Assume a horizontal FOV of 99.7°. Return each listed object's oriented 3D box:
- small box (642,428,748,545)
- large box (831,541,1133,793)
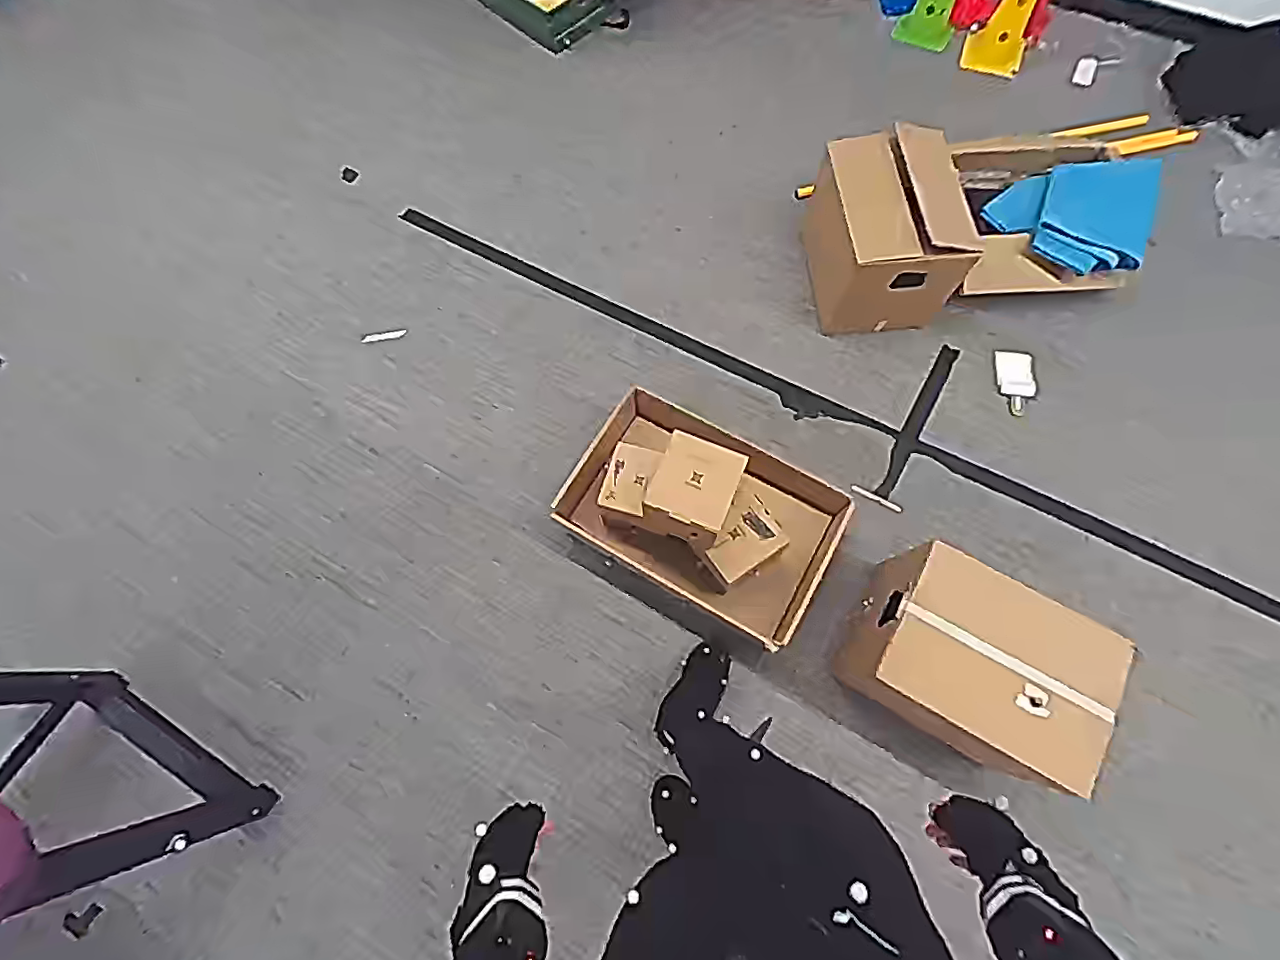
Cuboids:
[{"bbox_3d":[0.115,0.021,1.157,0.168,0.176,0.179,22,73,8],"label":"small box"},{"bbox_3d":[0.695,0.383,1.163,0.408,0.320,0.320,29,76,10],"label":"large box"}]
